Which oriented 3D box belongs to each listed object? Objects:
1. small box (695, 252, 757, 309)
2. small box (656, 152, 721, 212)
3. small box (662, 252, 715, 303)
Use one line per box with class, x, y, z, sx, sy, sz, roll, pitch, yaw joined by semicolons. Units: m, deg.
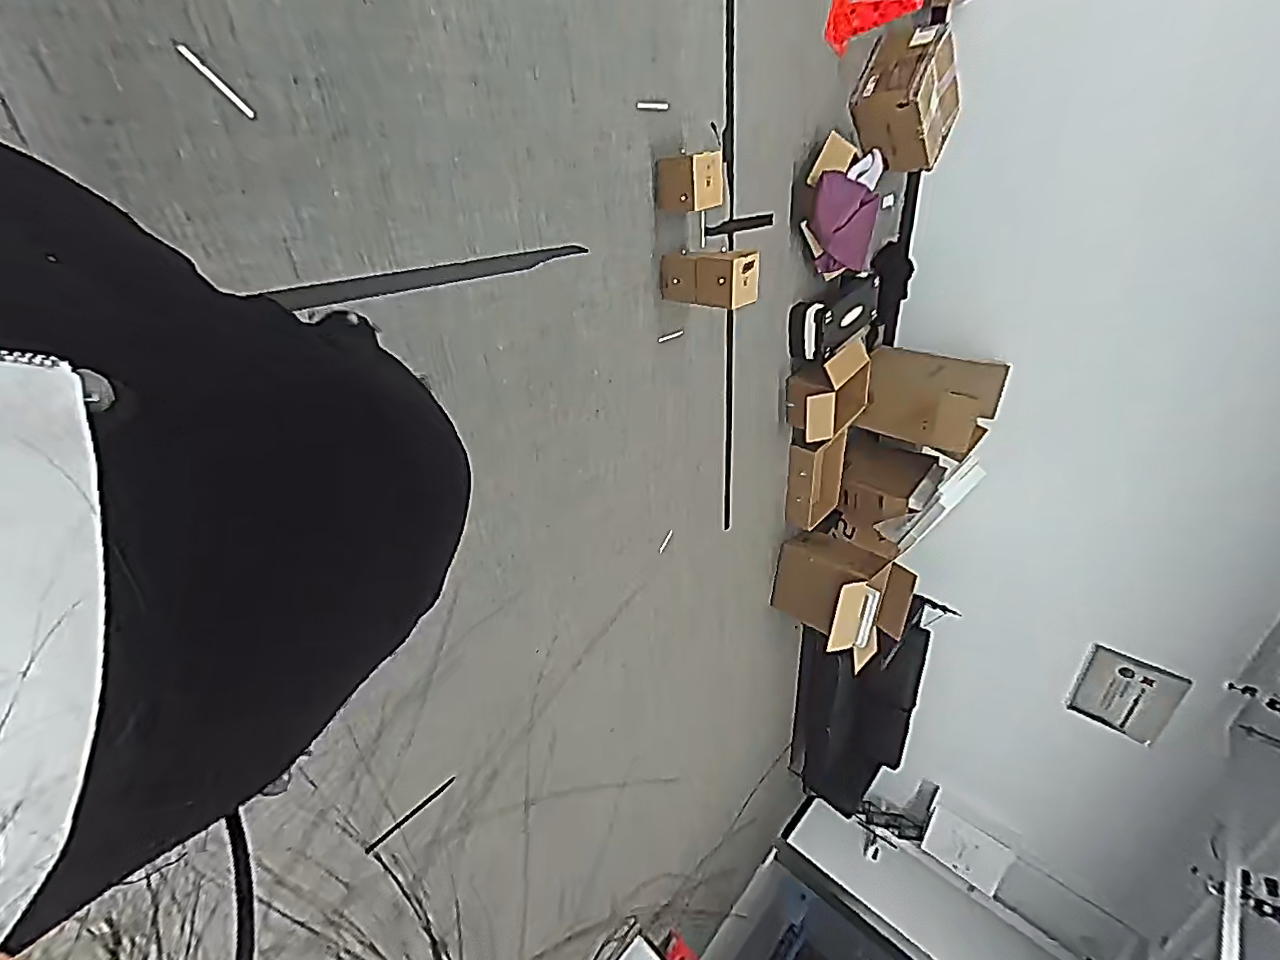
small box;0.320;-0.752;2.024;0.168;0.176;0.179;-30;130;-37
small box;0.175;-1.079;1.958;0.168;0.176;0.179;-33;130;-35
small box;0.200;-0.799;2.129;0.179;0.176;0.168;-28;128;-37
